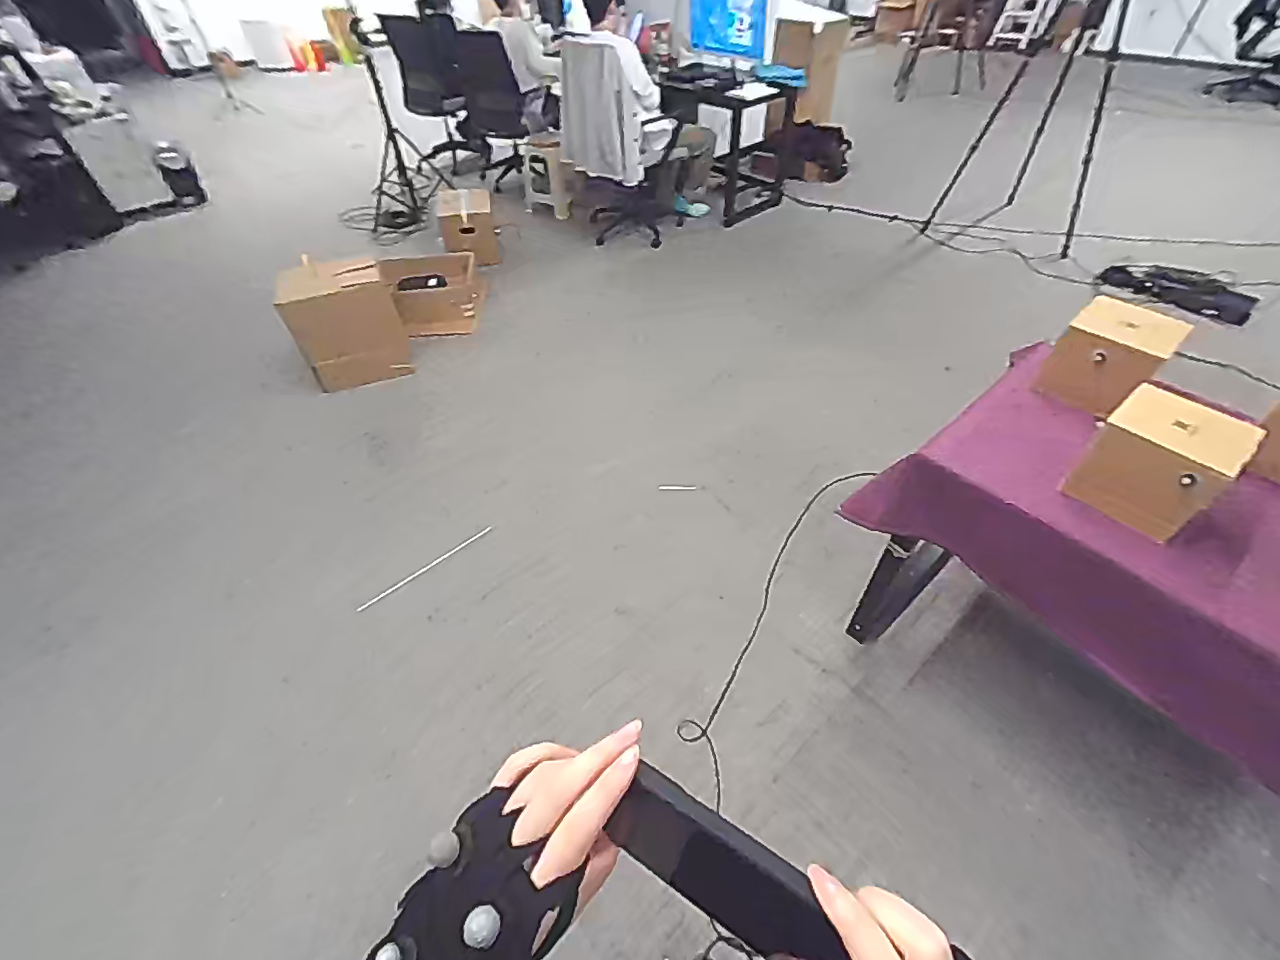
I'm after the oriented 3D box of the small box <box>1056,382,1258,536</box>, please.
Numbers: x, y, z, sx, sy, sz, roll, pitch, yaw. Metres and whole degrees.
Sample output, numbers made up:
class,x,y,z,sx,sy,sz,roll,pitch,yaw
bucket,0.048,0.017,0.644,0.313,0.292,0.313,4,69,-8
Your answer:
class,x,y,z,sx,sy,sz,roll,pitch,yaw
small box,0.884,-0.035,0.943,0.168,0.176,0.179,-31,54,-25
